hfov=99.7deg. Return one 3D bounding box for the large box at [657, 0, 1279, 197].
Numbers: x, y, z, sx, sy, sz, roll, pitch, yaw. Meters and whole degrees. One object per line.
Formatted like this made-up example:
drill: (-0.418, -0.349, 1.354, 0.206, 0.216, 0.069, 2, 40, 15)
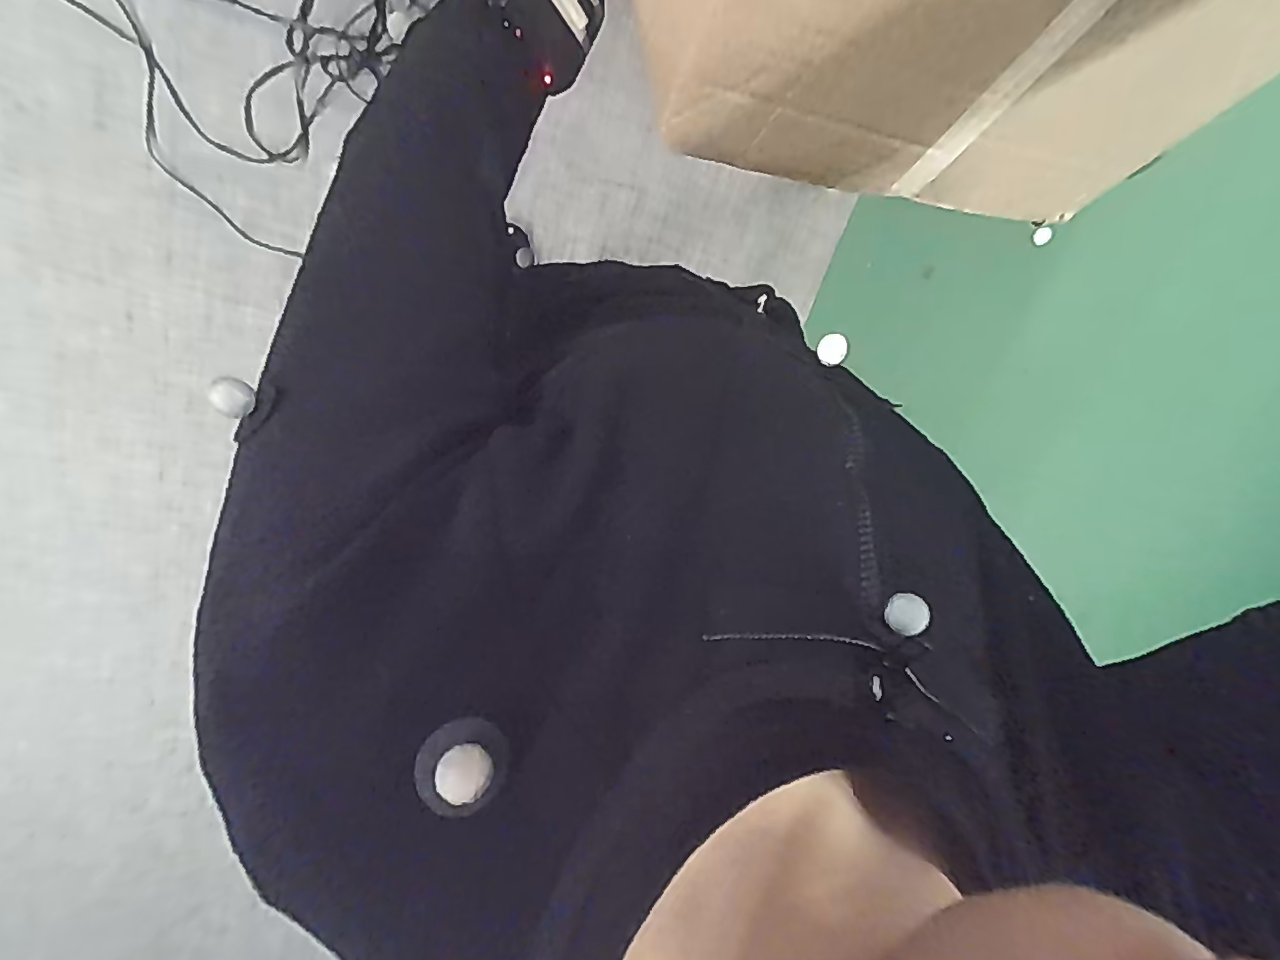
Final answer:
large box: (0.201, -0.395, 0.201, 0.320, 0.408, 0.320, -2, 75, -20)
